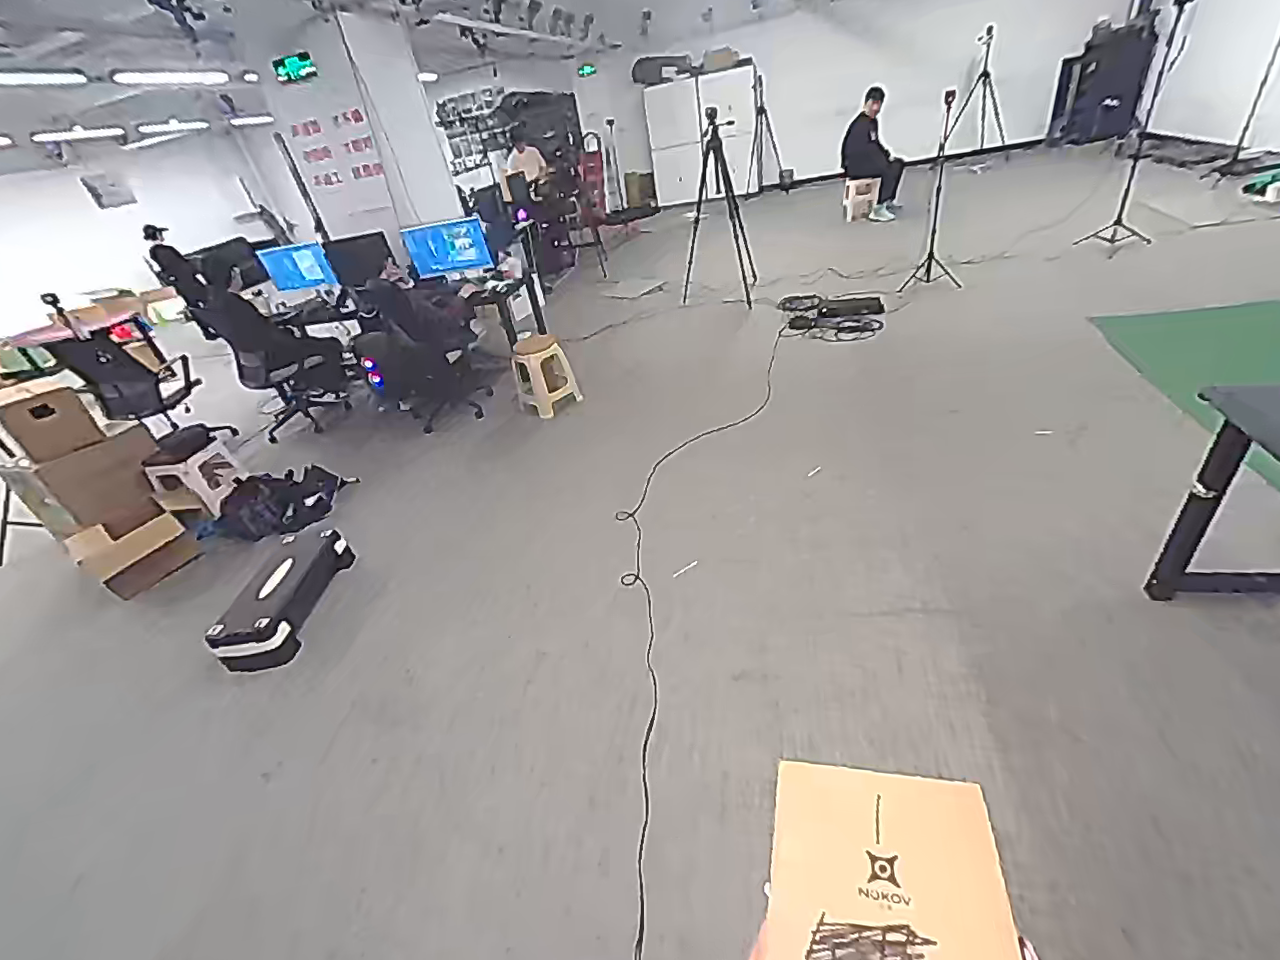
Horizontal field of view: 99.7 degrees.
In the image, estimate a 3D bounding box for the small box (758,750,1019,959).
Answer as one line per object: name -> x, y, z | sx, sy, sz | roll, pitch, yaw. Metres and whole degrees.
small box -> 0.198, 0.360, 0.443 | 0.168, 0.176, 0.179 | -3, 31, 21
